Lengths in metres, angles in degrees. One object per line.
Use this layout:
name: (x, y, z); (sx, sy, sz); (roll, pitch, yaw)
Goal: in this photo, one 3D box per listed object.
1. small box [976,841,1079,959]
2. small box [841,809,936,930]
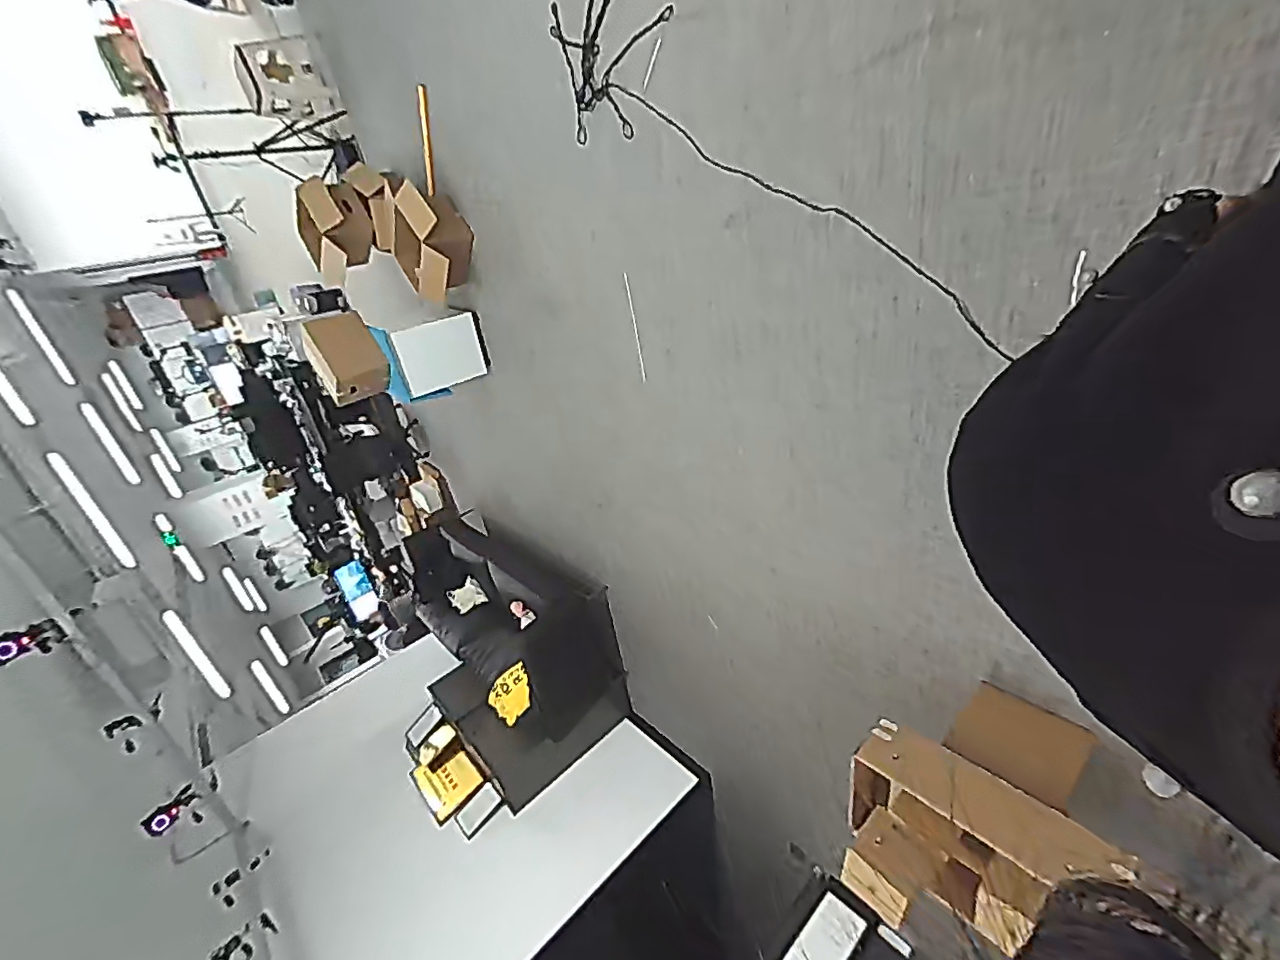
small box: (0.979, 1.078, 1.367); (0.168, 0.176, 0.179); (17, 127, 47)
small box: (0.673, 1.045, 1.464); (0.168, 0.176, 0.179); (28, 134, 42)
